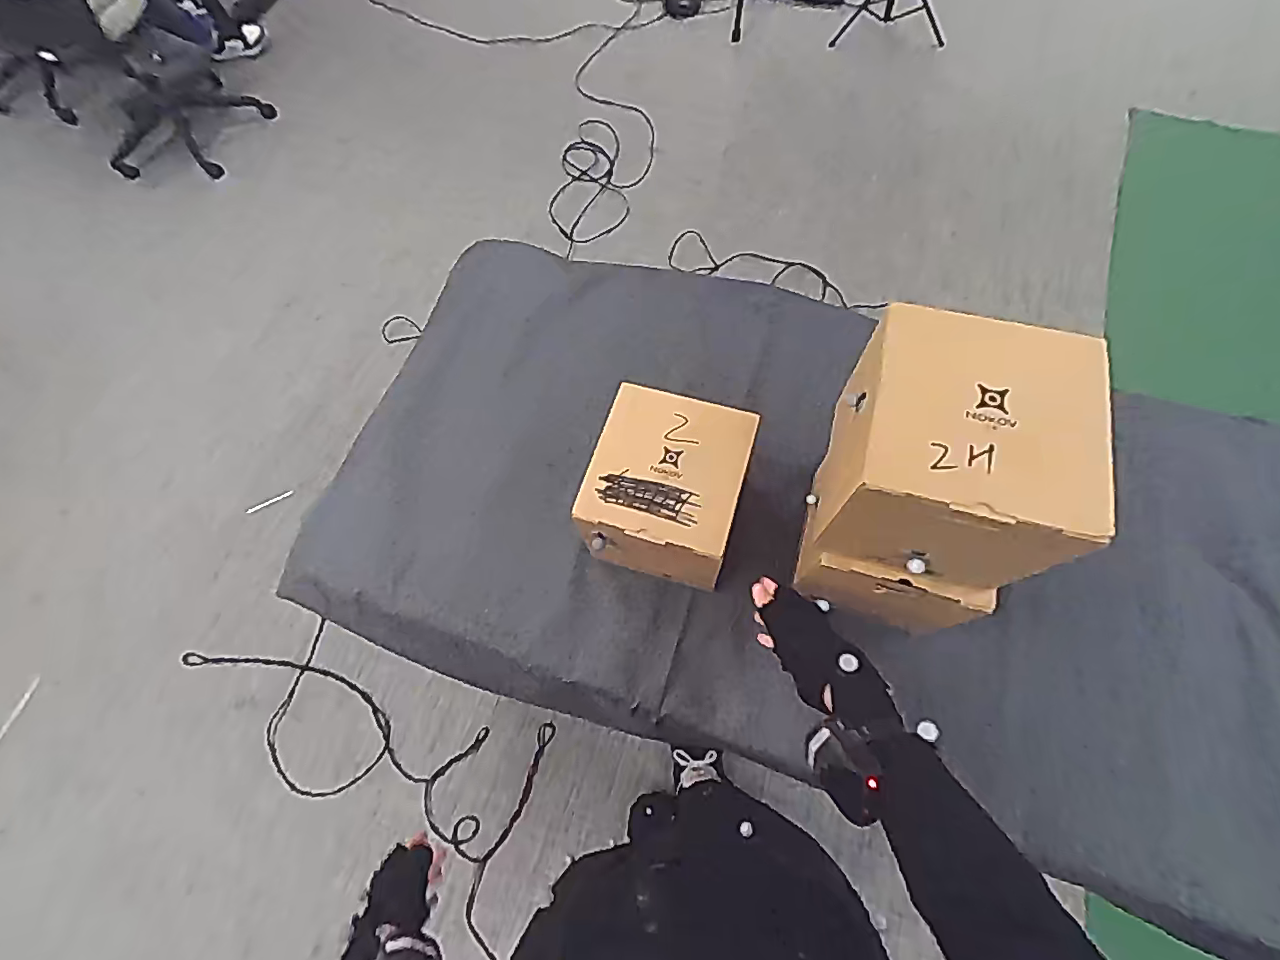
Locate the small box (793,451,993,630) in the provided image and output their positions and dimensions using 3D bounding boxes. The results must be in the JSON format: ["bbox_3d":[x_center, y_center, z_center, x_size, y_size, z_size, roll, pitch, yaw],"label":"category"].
[{"bbox_3d":[0.282,0.060,0.621,0.168,0.176,0.179,15,68,10],"label":"small box"}]

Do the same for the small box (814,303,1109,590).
[{"bbox_3d":[0.264,-0.020,0.477,0.168,0.176,0.179,14,69,10],"label":"small box"}]
